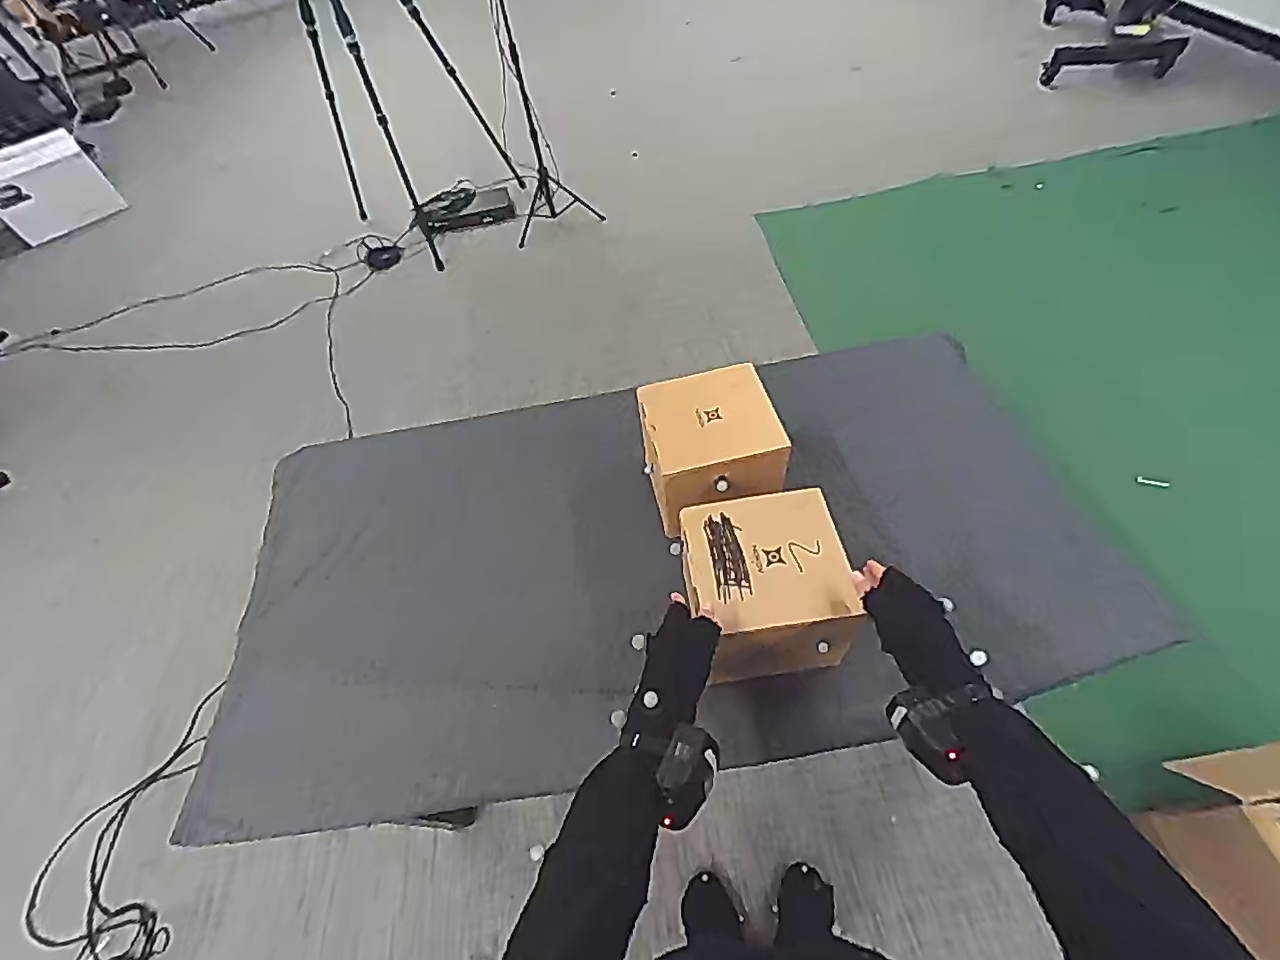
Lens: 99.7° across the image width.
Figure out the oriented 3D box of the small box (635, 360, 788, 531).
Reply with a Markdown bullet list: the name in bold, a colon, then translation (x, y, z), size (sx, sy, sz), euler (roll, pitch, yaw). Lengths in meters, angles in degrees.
- **small box**: translation (0.100, -0.046, 0.803), size (0.179, 0.176, 0.168), euler (-14, 55, -1)

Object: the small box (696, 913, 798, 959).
- **small box**: translation (0.199, 0.952, 1.024), size (0.168, 0.176, 0.179), euler (5, 58, -1)
